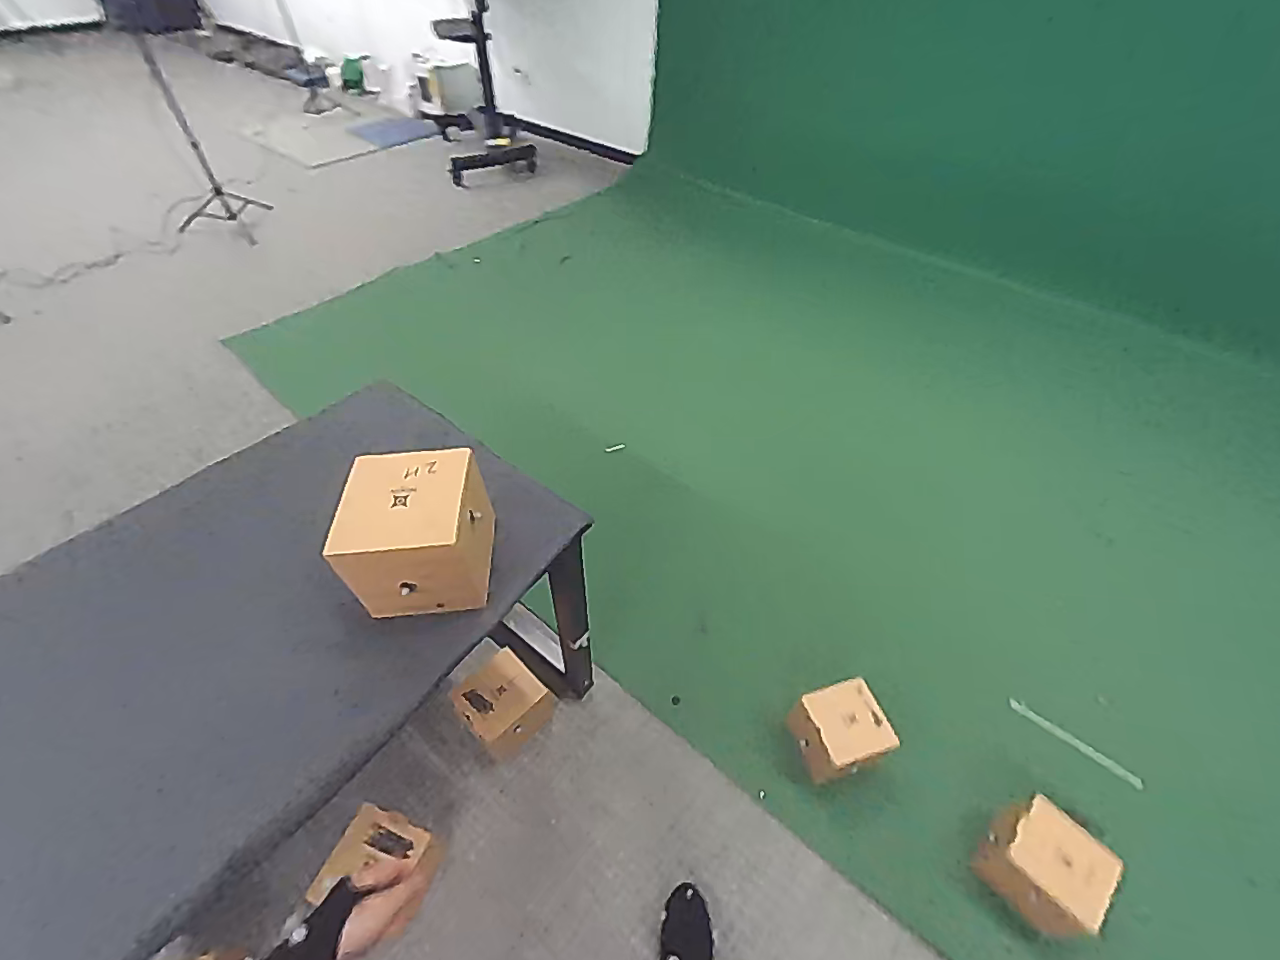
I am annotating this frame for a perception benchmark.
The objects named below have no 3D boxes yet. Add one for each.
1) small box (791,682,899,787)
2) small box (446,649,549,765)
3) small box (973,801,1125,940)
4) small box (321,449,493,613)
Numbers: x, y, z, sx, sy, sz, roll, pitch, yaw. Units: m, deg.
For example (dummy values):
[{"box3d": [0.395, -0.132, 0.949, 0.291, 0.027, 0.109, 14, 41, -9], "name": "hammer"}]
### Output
[{"box3d": [0.485, 0.625, 1.320, 0.179, 0.176, 0.168, -11, 49, -12], "name": "small box"}, {"box3d": [-0.341, 0.560, 1.329, 0.168, 0.176, 0.179, 37, 56, 26], "name": "small box"}, {"box3d": [0.859, 0.834, 1.153, 0.168, 0.176, 0.179, -34, 59, -27], "name": "small box"}, {"box3d": [-0.315, 0.079, 0.777, 0.168, 0.176, 0.179, -4, 48, -3], "name": "small box"}]
